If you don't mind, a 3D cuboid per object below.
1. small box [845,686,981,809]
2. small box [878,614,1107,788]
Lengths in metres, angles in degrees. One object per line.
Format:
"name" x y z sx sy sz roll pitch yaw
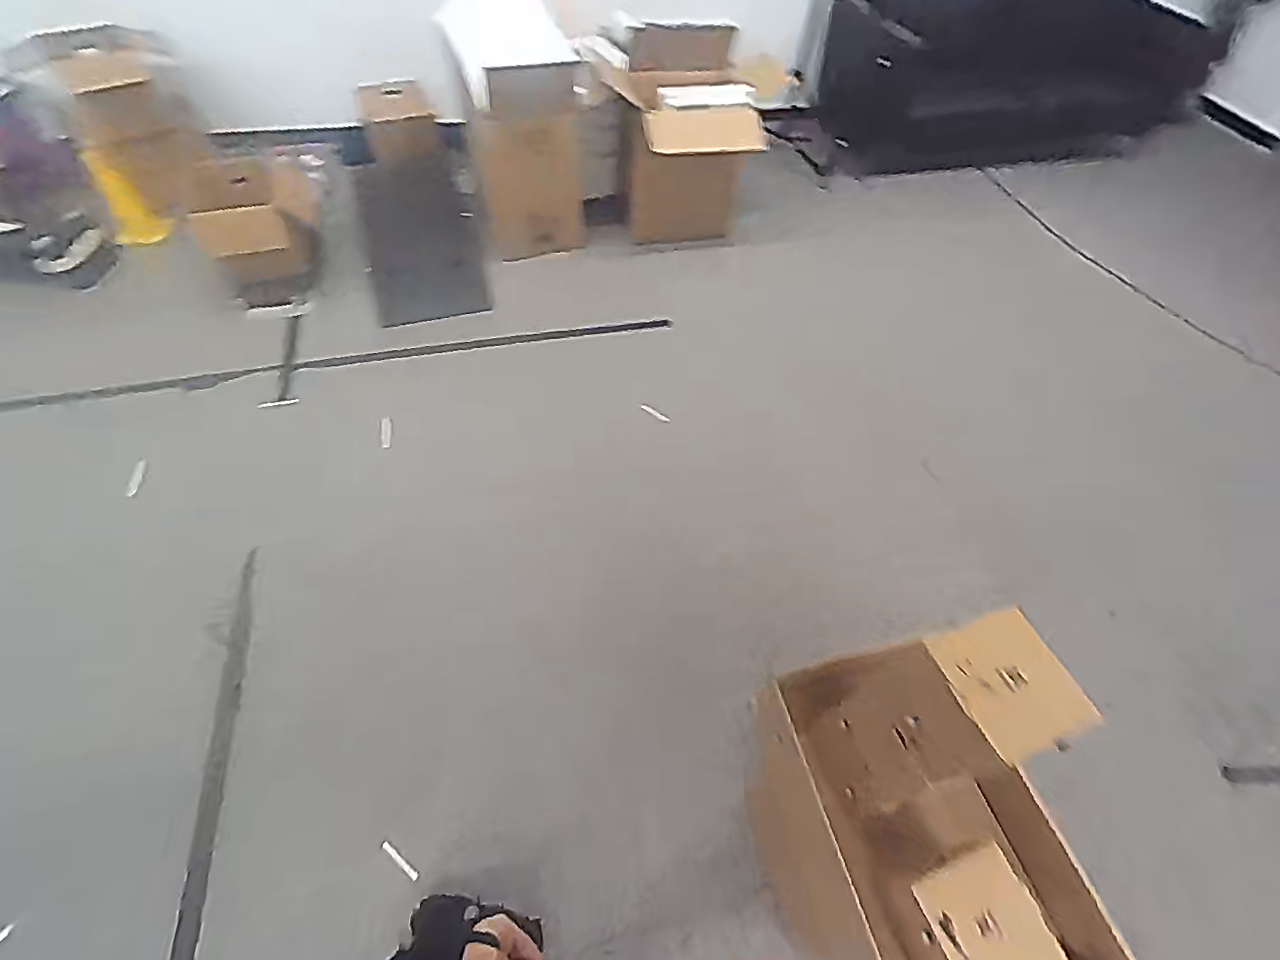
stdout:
"small box" 0.468 0.427 0.898 0.179 0.176 0.168 -11 56 -14
"small box" 0.485 0.318 0.774 0.179 0.176 0.168 -13 56 -15
